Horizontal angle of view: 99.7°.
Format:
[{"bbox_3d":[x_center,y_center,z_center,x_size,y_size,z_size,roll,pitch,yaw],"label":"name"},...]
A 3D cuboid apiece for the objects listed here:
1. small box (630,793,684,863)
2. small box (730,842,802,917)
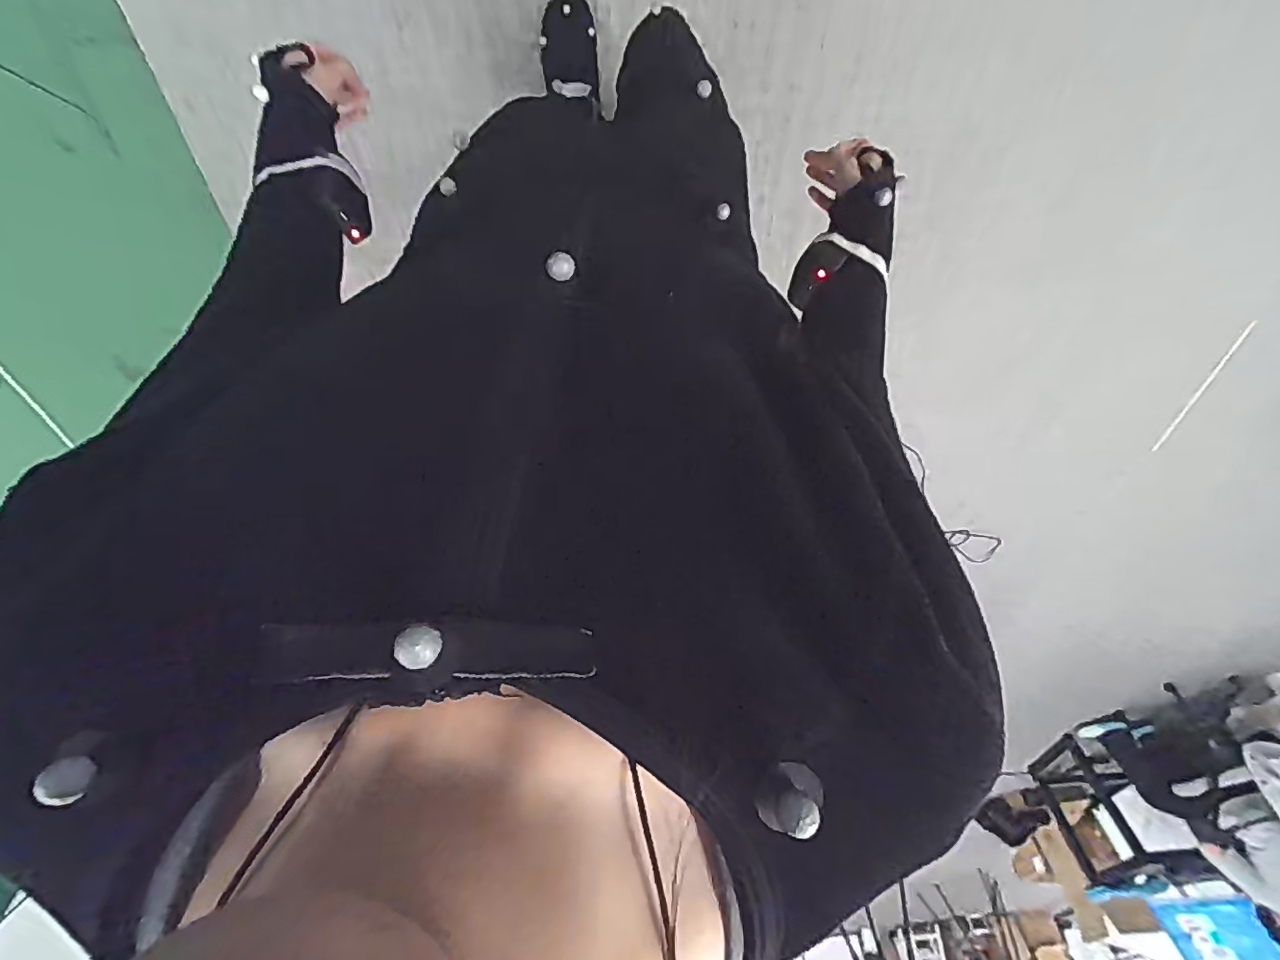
[{"bbox_3d":[0.051,1.183,1.846,0.168,0.176,0.179,-1,133,-4],"label":"small box"},{"bbox_3d":[0.399,1.283,1.740,0.179,0.176,0.168,-2,133,-3],"label":"small box"}]
